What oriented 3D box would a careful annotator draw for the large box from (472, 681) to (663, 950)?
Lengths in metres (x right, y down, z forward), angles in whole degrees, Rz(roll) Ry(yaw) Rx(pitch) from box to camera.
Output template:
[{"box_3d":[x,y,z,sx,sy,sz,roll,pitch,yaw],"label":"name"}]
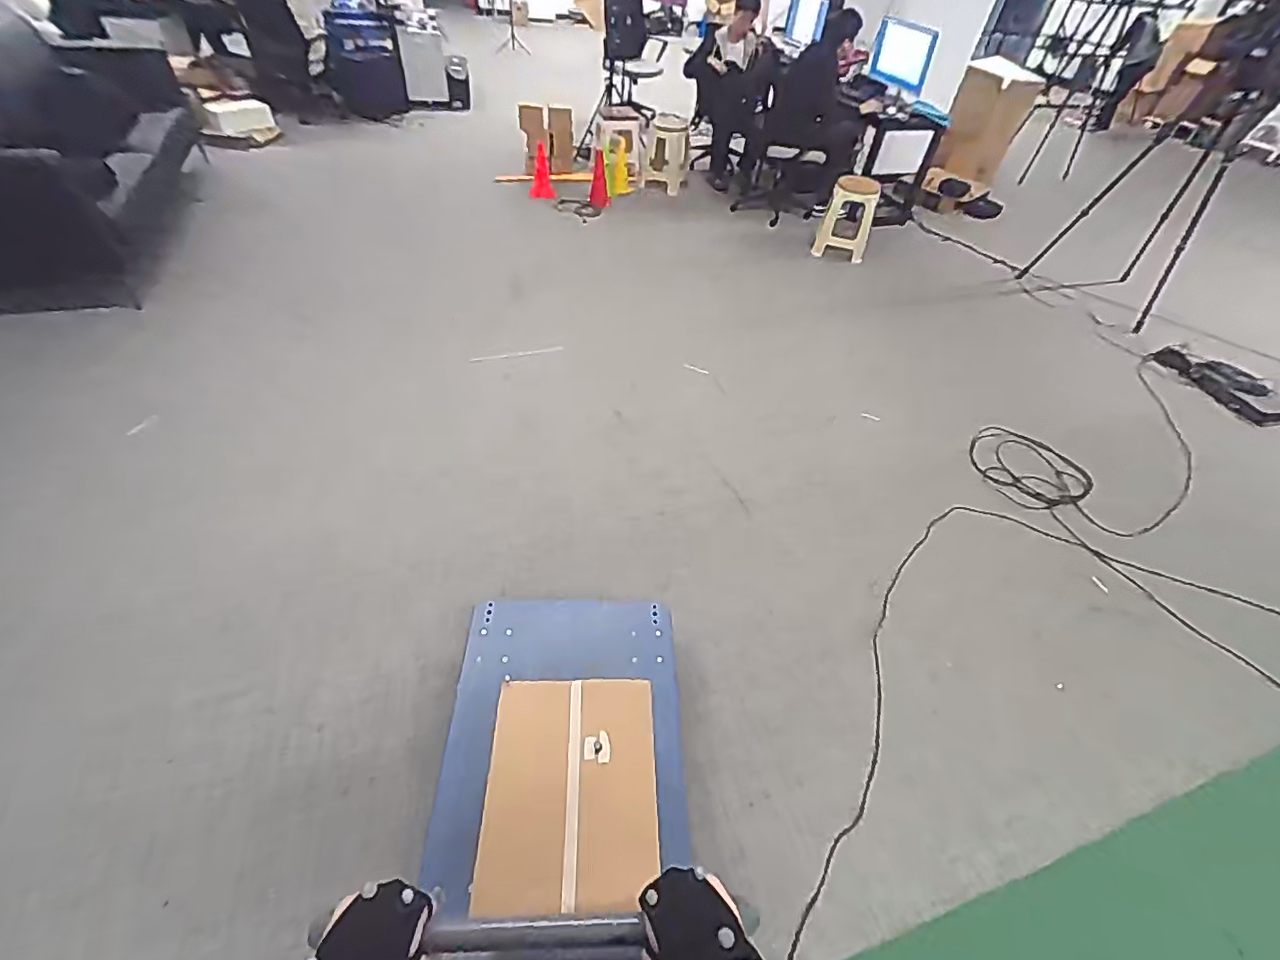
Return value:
[{"box_3d":[-0.139,0.675,1.107,0.320,0.320,0.408,2,45,-6],"label":"large box"}]
